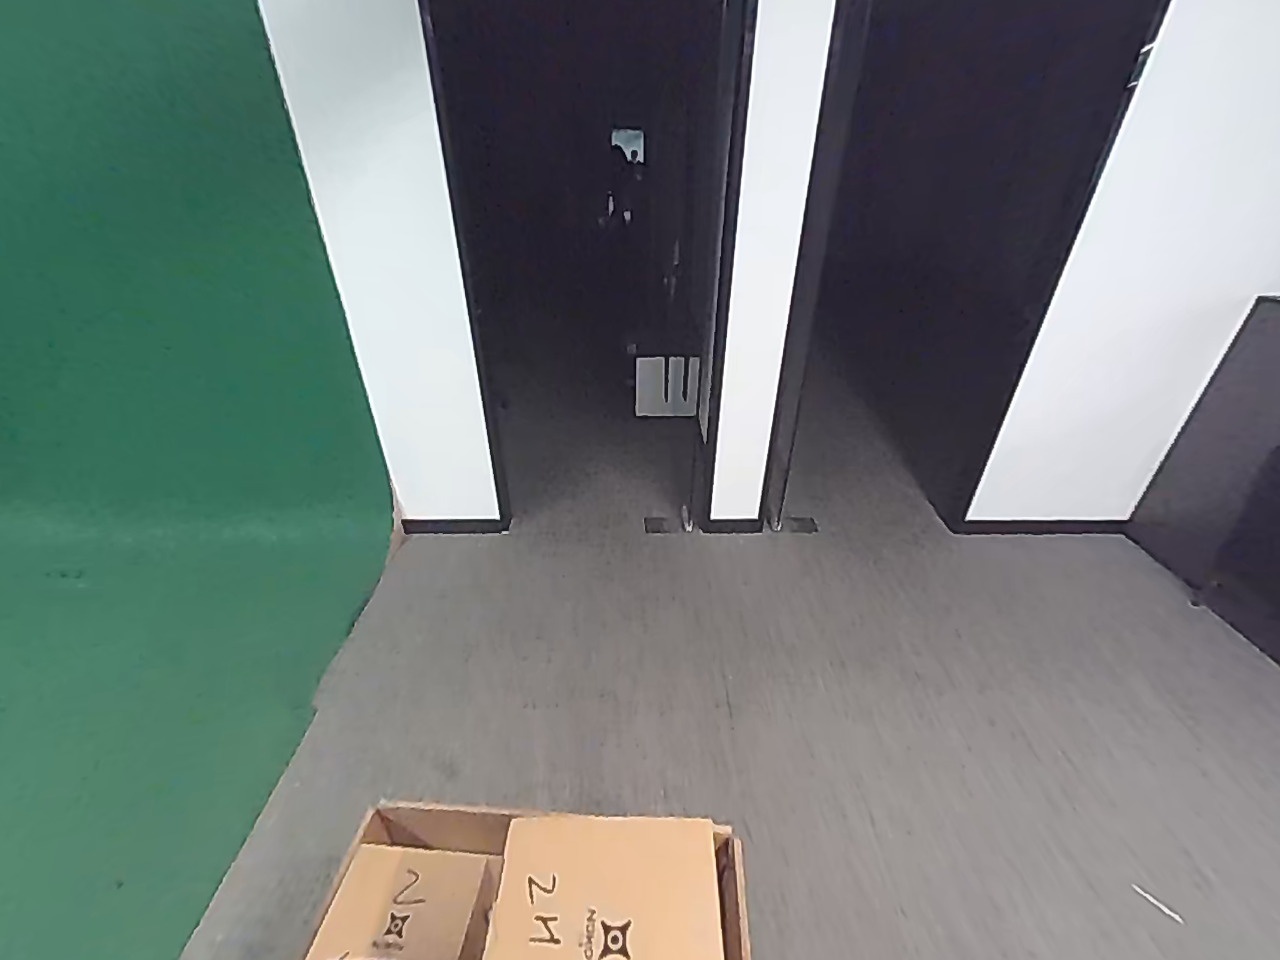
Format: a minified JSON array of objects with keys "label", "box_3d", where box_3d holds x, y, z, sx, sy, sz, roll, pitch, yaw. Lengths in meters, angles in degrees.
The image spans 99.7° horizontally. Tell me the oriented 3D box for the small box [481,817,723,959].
[{"label":"small box","box_3d":[-0.025,0.402,0.439,0.179,0.176,0.168,-1,33,3]}]
